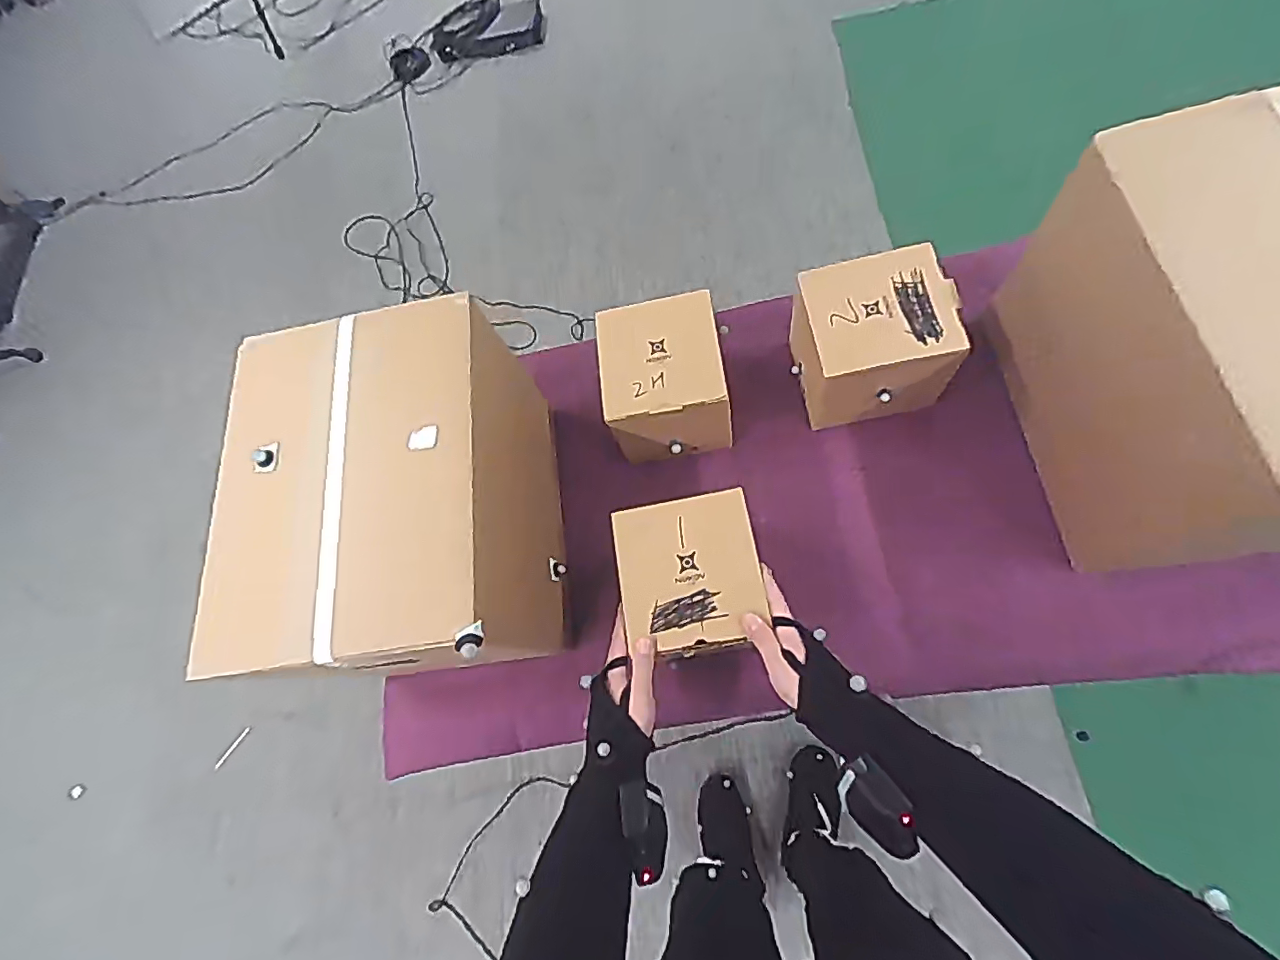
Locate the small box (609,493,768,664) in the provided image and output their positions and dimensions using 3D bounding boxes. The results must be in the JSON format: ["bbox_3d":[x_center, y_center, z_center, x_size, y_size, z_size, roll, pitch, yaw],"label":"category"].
[{"bbox_3d":[0.067,0.137,0.697,0.168,0.176,0.179,-11,67,7],"label":"small box"}]
